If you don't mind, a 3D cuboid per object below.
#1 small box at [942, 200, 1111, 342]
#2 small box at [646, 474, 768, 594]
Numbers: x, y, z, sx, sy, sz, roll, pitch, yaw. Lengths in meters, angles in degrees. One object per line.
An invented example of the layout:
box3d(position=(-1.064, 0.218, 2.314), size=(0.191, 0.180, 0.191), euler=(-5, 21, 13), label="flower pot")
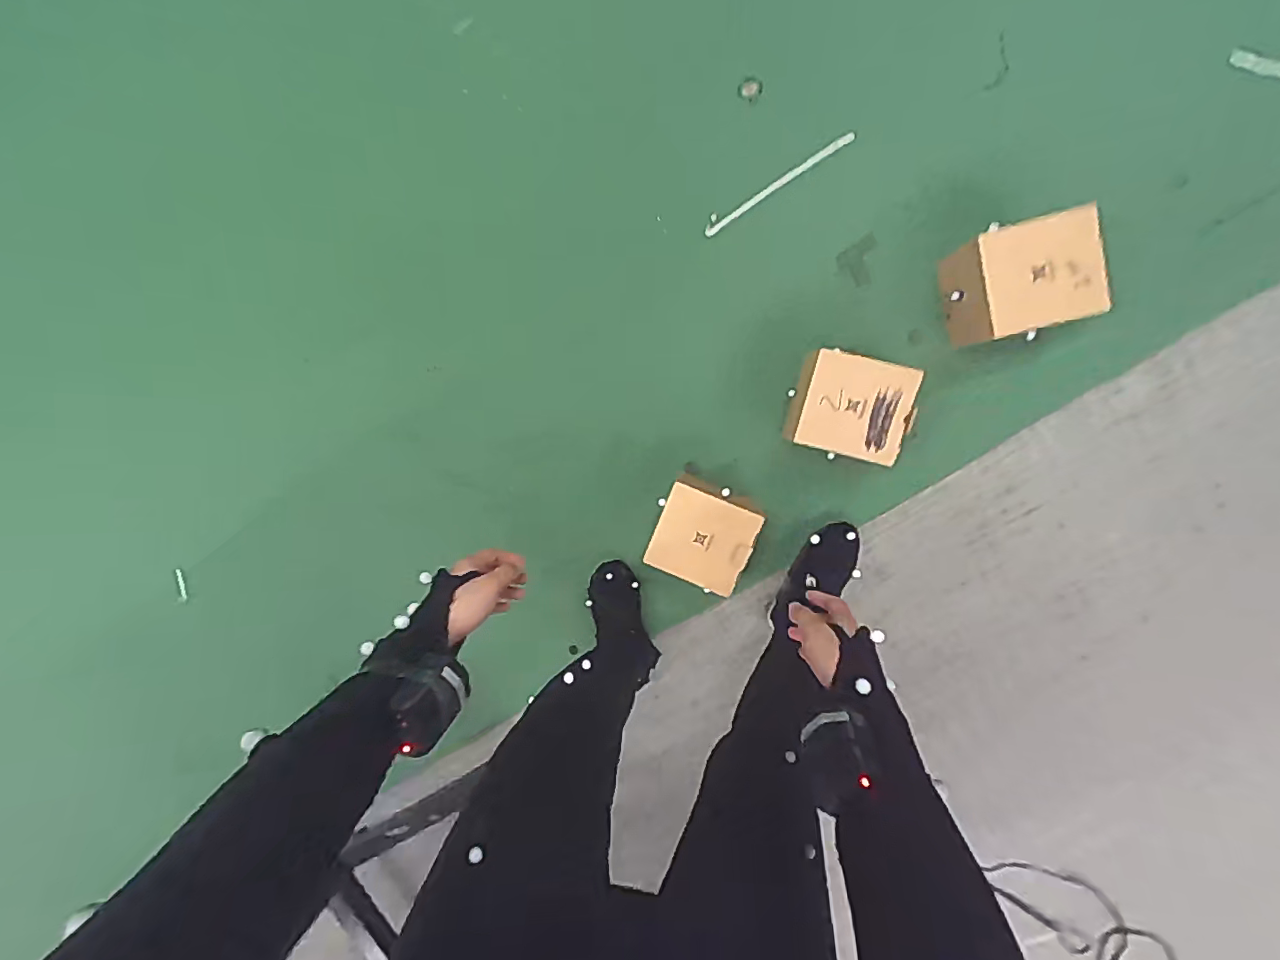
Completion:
box3d(position=(0.645, -0.345, 0.929), size=(0.179, 0.176, 0.168), euler=(-13, 97, 8), label="small box")
box3d(position=(0.127, 0.094, 1.053), size=(0.179, 0.176, 0.168), euler=(22, 100, 3), label="small box")
